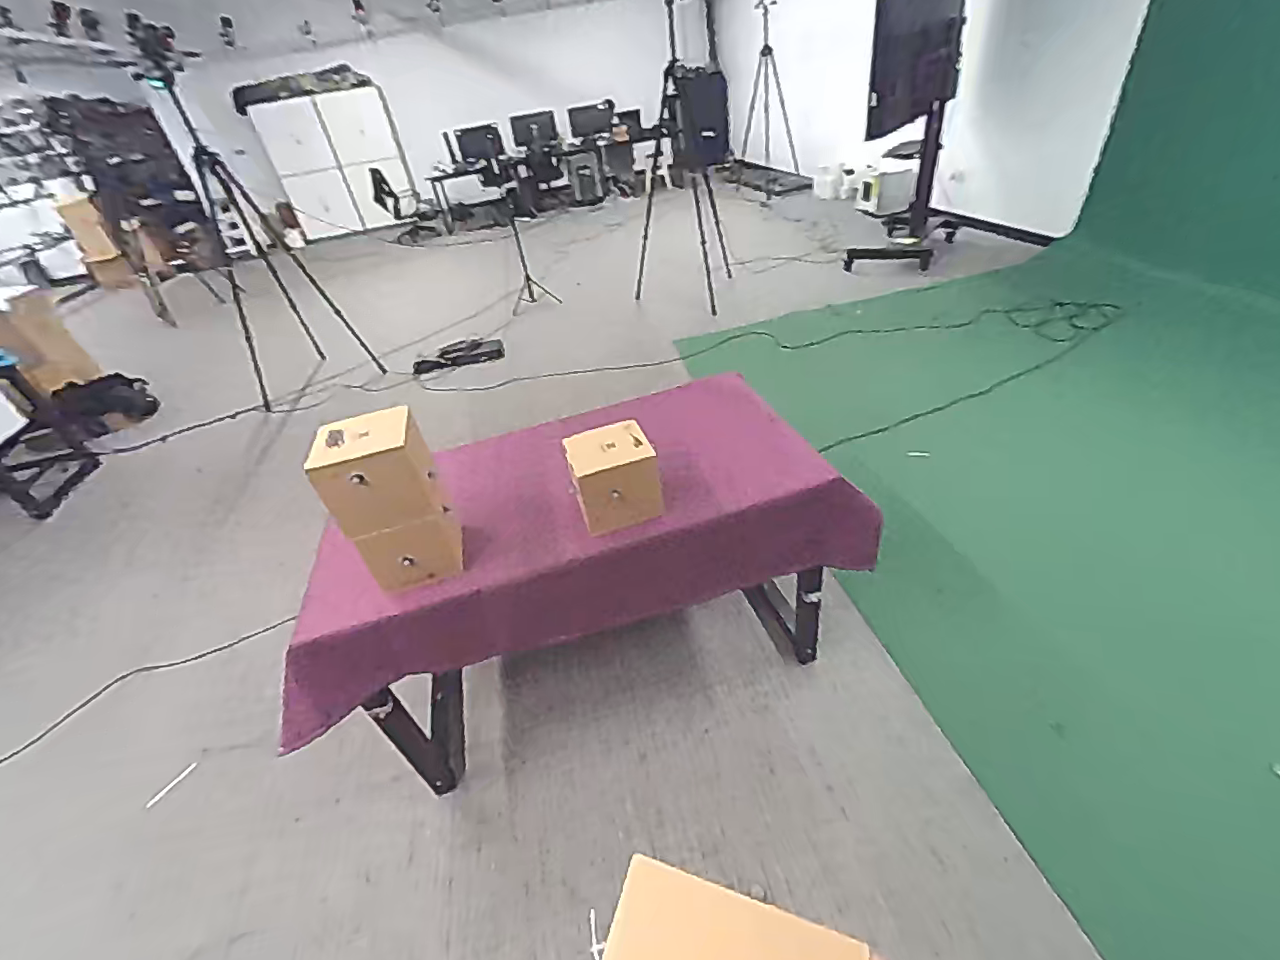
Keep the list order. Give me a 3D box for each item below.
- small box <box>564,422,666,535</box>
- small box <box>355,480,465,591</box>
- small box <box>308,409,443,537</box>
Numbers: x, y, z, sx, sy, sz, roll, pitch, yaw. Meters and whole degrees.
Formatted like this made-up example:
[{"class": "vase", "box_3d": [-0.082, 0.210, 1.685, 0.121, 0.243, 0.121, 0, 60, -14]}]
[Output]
[{"class": "small box", "box_3d": [-0.054, -0.002, 1.214, 0.179, 0.176, 0.168, -17, 37, -8]}, {"class": "small box", "box_3d": [-0.482, 0.117, 1.162, 0.168, 0.176, 0.179, -16, 36, -8]}, {"class": "small box", "box_3d": [-0.507, -0.013, 1.063, 0.179, 0.176, 0.168, -16, 37, -8]}]
